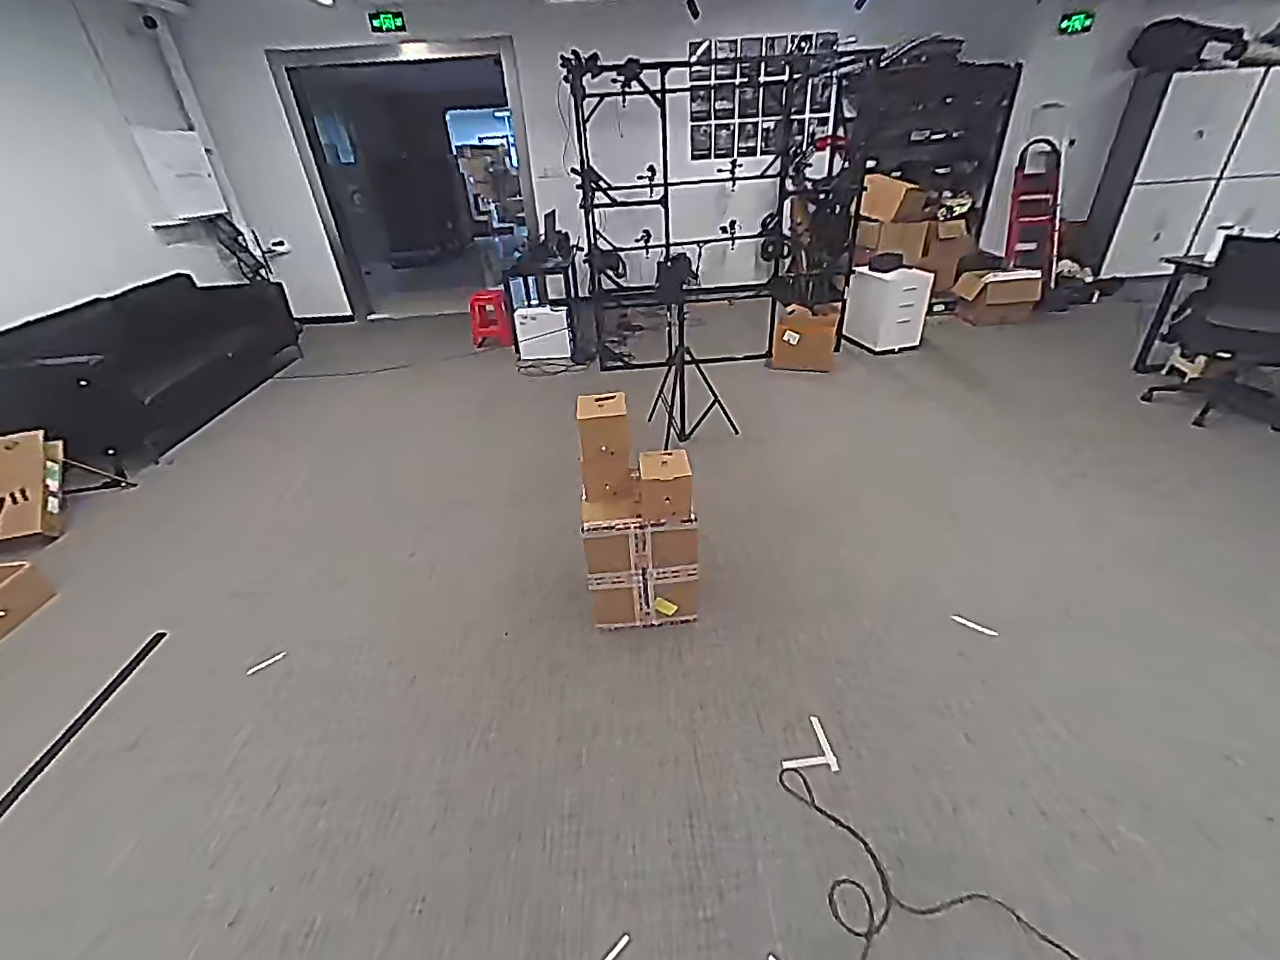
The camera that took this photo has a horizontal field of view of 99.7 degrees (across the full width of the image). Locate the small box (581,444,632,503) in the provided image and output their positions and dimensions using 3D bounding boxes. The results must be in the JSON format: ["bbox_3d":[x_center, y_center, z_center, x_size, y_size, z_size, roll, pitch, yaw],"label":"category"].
[{"bbox_3d":[-0.123,-0.038,1.963,0.168,0.176,0.179,-8,34,-3],"label":"small box"}]

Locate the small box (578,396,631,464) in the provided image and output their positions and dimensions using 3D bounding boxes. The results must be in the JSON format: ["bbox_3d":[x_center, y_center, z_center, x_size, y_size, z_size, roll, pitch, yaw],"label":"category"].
[{"bbox_3d":[-0.121,-0.175,1.870,0.168,0.176,0.179,-6,34,0],"label":"small box"}]

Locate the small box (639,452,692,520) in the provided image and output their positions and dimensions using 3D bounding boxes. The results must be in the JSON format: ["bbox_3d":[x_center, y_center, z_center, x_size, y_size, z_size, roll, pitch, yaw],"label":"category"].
[{"bbox_3d":[0.087,0.024,1.841,0.168,0.176,0.179,-4,33,-2],"label":"small box"}]
